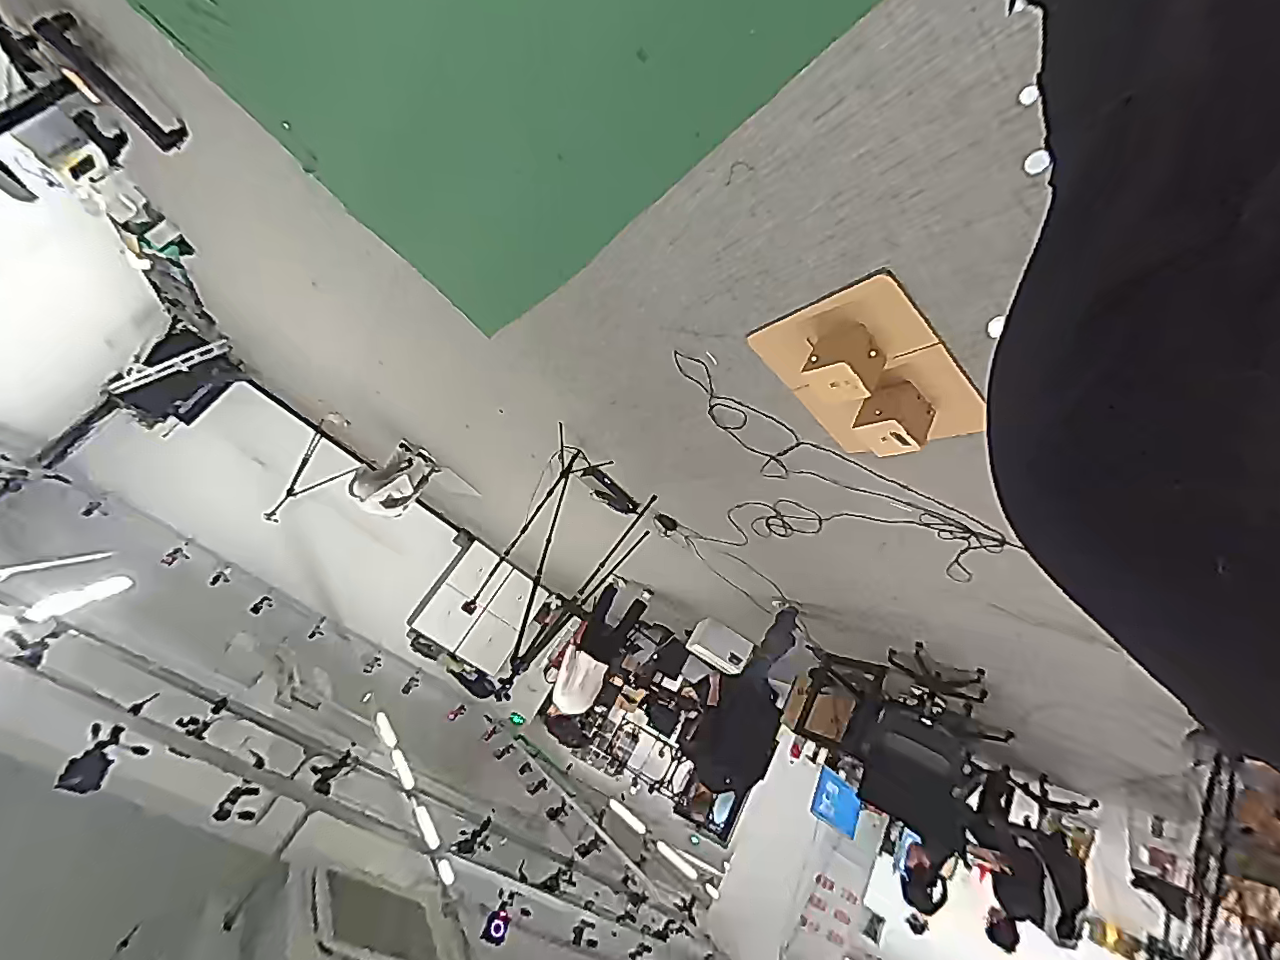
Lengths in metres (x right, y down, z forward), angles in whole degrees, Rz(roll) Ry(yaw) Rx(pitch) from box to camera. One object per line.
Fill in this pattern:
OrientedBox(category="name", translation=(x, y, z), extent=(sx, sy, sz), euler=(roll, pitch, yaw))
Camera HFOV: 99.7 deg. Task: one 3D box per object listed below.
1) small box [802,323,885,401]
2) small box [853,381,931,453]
OrientedBox(category="small box", translation=(0.677, -0.389, 1.794), extent=(0.168, 0.176, 0.179), euler=(41, 156, -25))
OrientedBox(category="small box", translation=(0.882, -0.218, 1.878), extent=(0.168, 0.176, 0.179), euler=(40, 157, -19))
